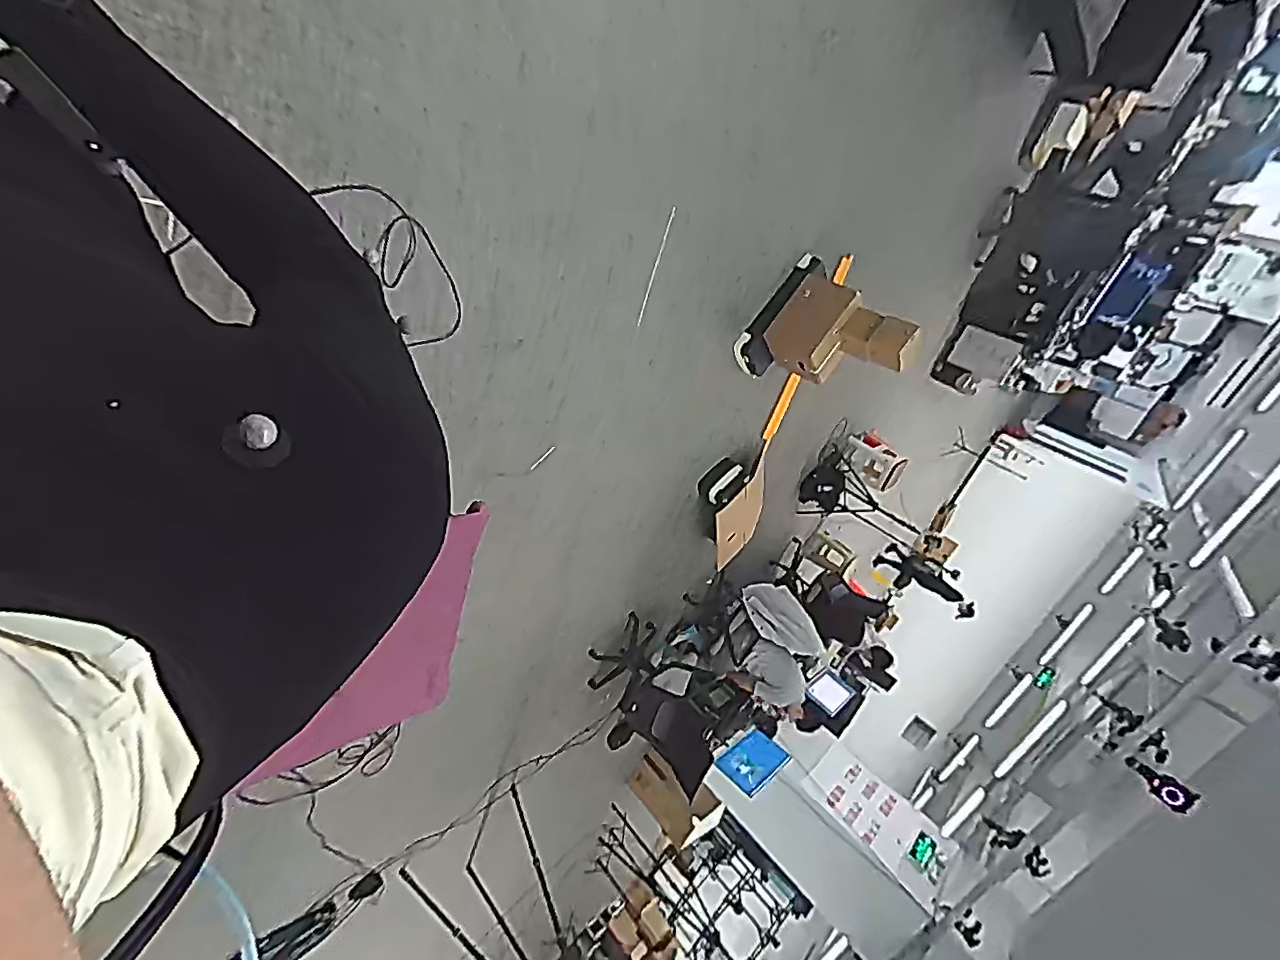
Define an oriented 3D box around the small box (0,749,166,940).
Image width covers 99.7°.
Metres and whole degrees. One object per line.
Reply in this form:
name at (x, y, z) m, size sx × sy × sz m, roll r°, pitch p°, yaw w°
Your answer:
small box at (-0.917, 0.572, 0.868) m, size 0.168 × 0.176 × 0.179 m, roll -27°, pitch 139°, yaw -33°
